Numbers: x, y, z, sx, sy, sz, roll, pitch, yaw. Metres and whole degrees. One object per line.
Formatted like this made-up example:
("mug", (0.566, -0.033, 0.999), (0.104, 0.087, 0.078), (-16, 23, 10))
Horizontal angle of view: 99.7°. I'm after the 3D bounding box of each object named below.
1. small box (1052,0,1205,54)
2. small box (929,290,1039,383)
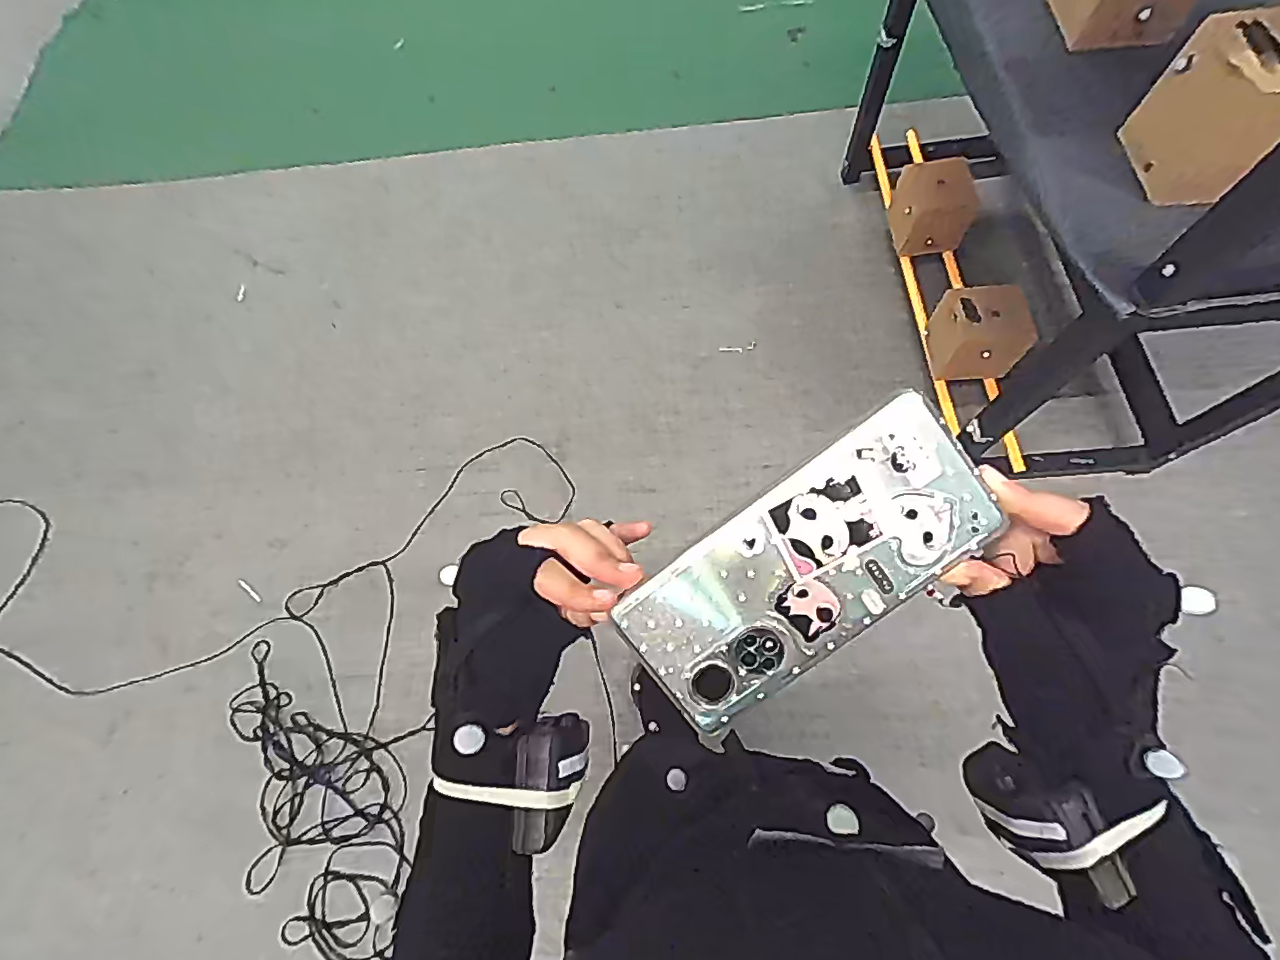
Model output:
("small box", (0.840, -0.861, 0.907), (0.168, 0.176, 0.179), (-1, 68, 5))
("small box", (0.861, -0.359, 1.377), (0.179, 0.176, 0.168), (-1, 68, 5))
